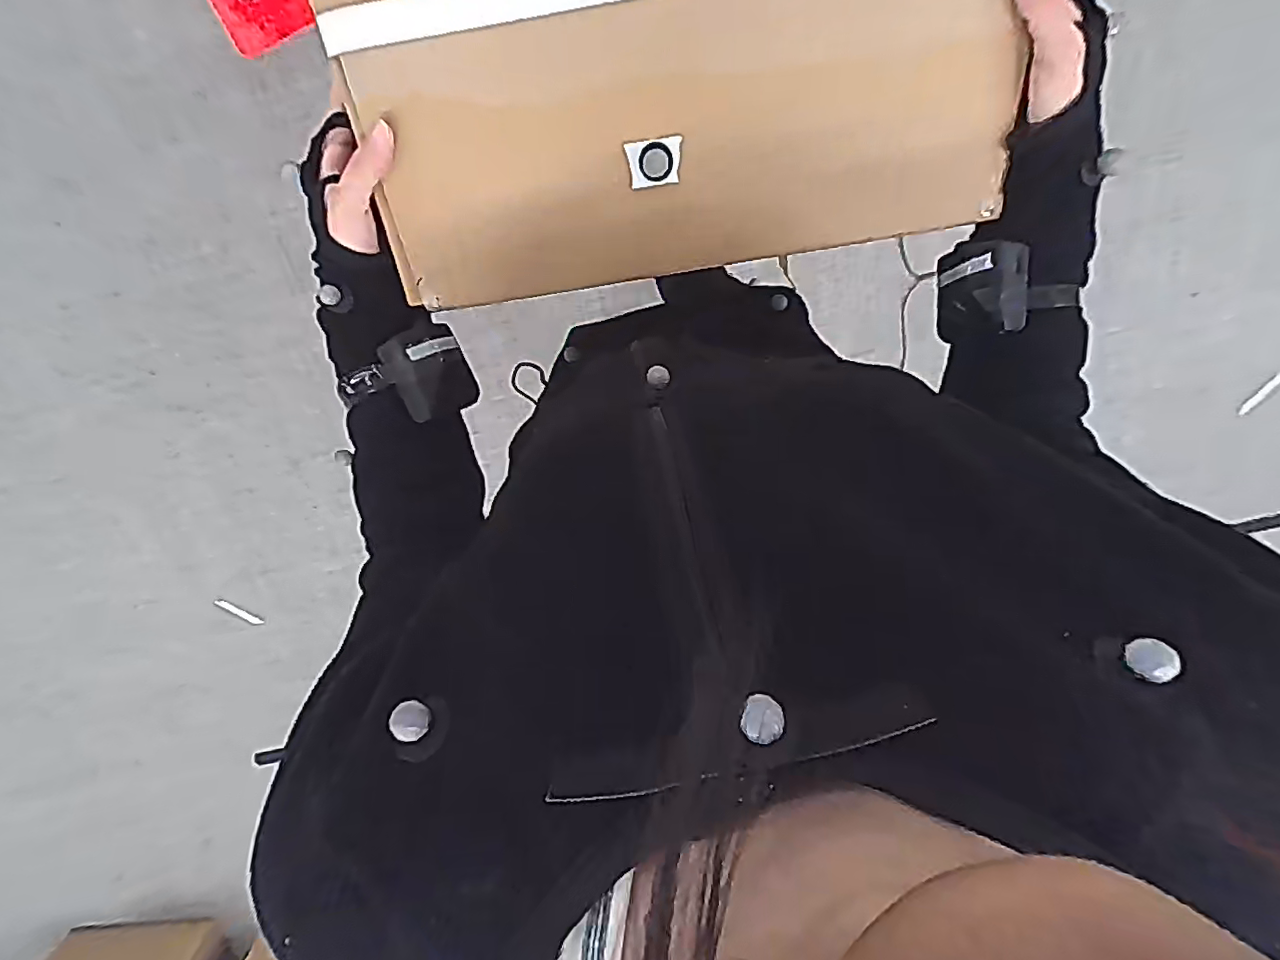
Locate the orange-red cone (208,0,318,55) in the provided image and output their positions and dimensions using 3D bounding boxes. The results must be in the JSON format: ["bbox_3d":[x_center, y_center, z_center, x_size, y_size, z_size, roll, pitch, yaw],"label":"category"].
[{"bbox_3d":[-0.757,-0.917,0.903,0.199,0.360,0.198,-21,109,6],"label":"orange-red cone"}]
